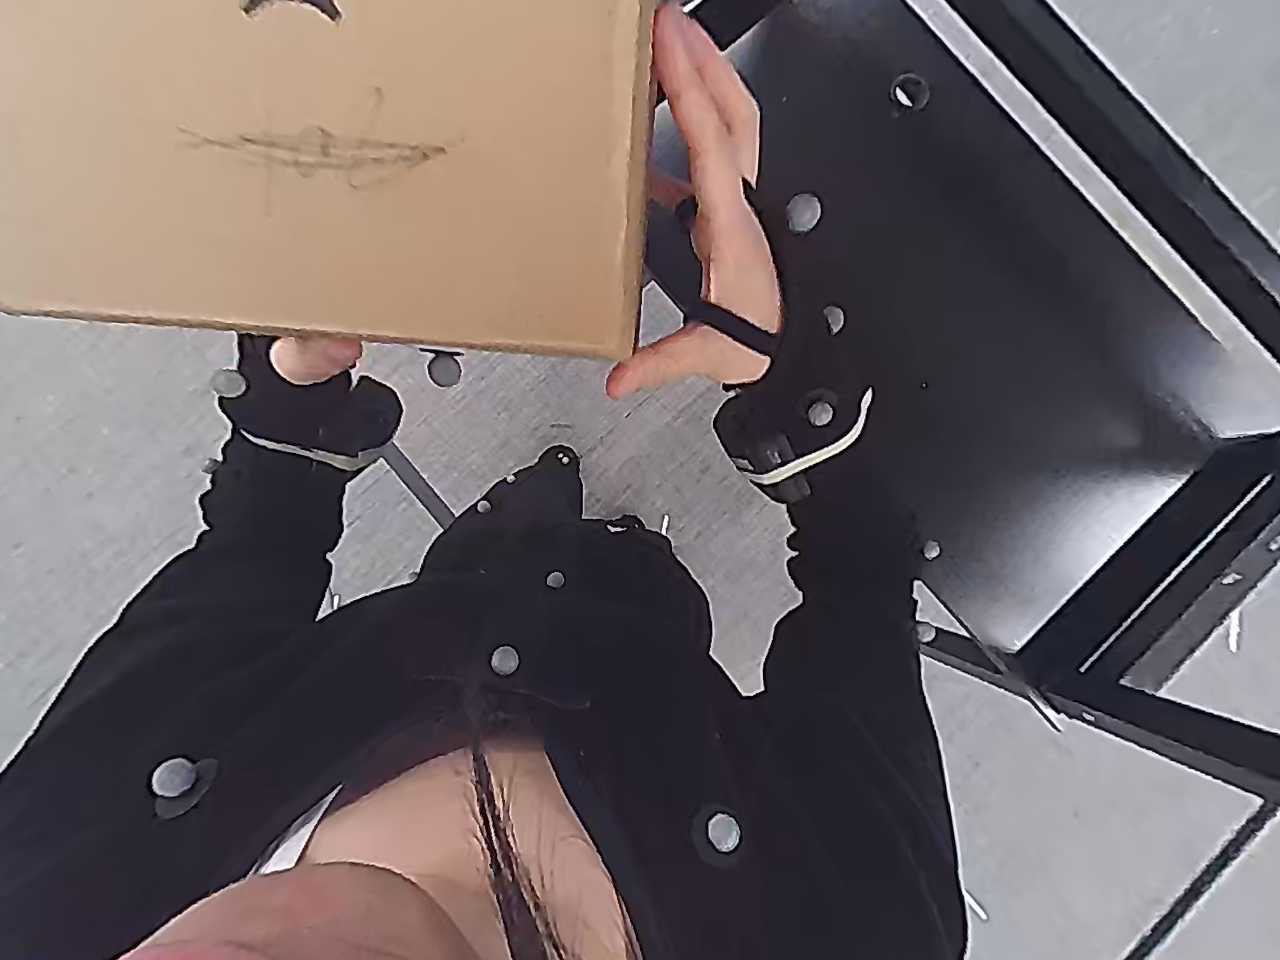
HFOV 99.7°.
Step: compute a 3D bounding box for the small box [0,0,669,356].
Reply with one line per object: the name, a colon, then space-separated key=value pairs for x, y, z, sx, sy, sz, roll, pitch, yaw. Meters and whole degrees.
small box: x=-0.075 y=-0.141 z=0.198 sx=0.168 sy=0.176 sz=0.179 roll=4 pitch=103 yaw=1
